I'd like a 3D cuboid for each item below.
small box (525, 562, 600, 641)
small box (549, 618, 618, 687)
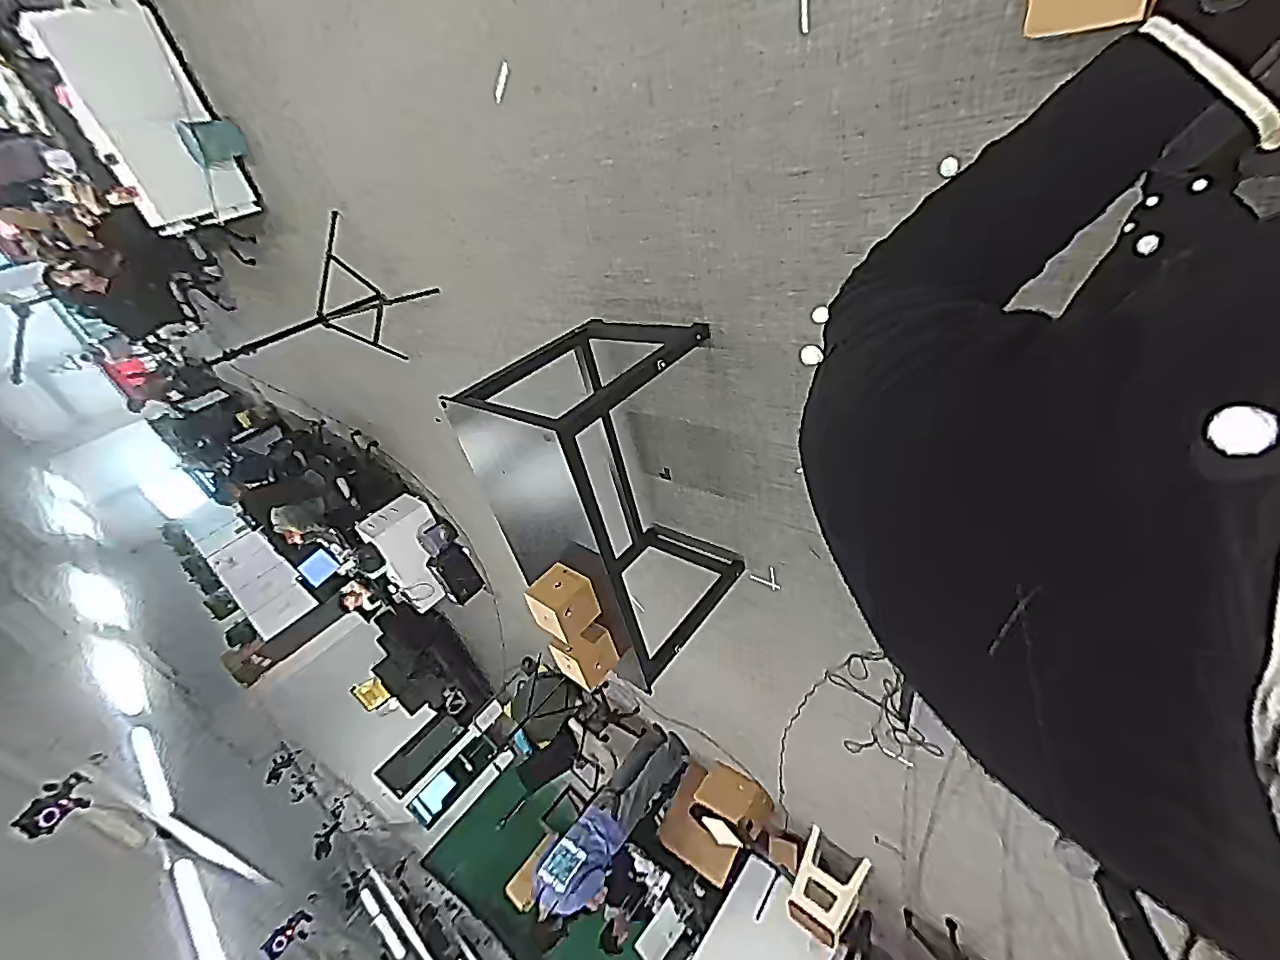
[{"bbox_3d":[-0.264,0.414,1.877,0.168,0.176,0.179,20,137,38],"label":"small box"},{"bbox_3d":[-0.205,0.631,2.031,0.168,0.176,0.179,16,135,40],"label":"small box"}]
